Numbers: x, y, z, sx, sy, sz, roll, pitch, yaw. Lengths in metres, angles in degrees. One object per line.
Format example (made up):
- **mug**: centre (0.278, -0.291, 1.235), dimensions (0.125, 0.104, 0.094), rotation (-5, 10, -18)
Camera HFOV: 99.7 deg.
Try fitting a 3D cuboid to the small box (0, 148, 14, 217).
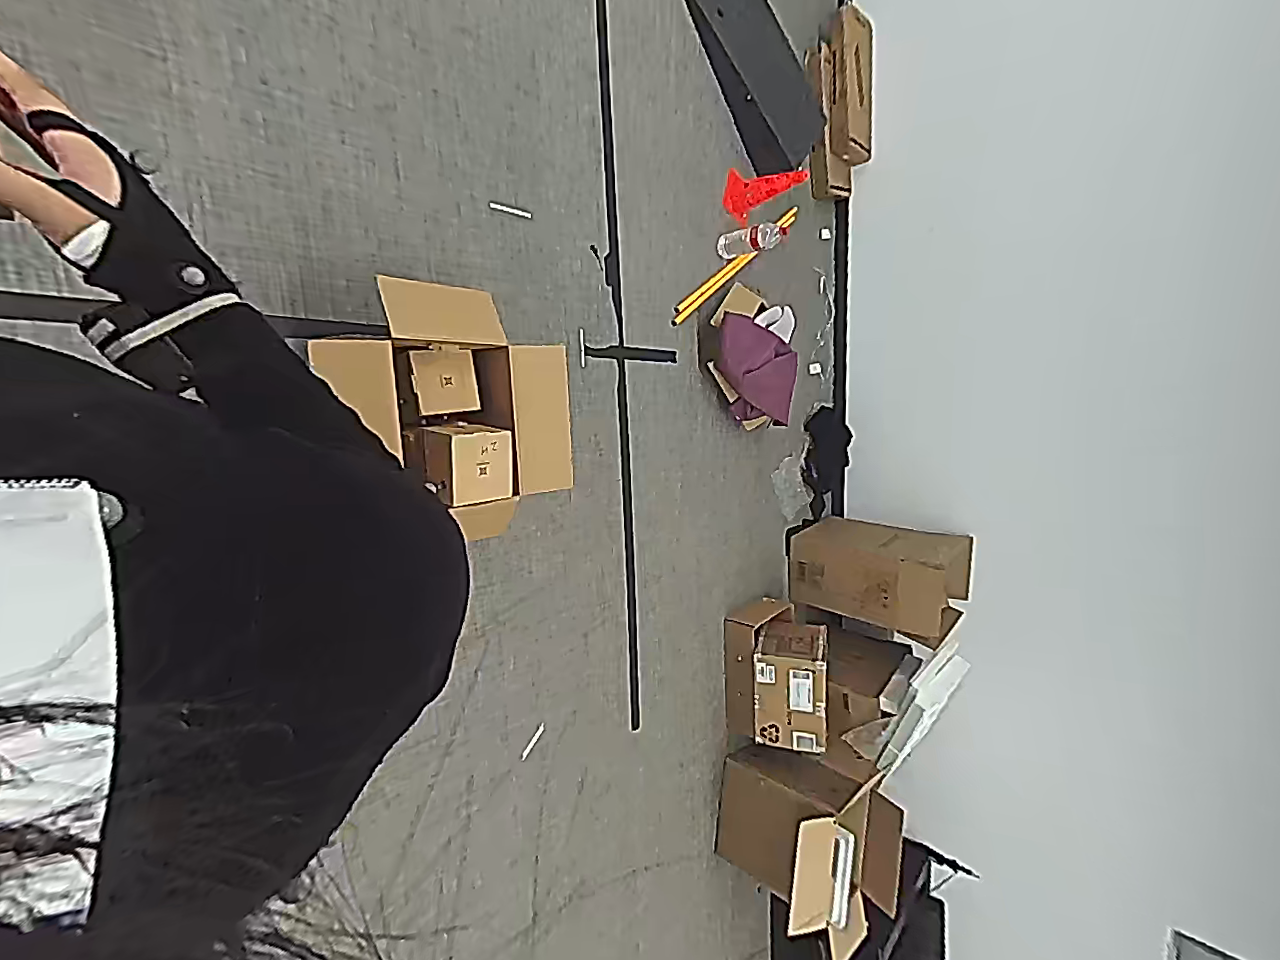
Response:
- **small box**: centre (-0.515, -0.272, 0.315), dimensions (0.168, 0.176, 0.179), rotation (-15, 108, -43)
